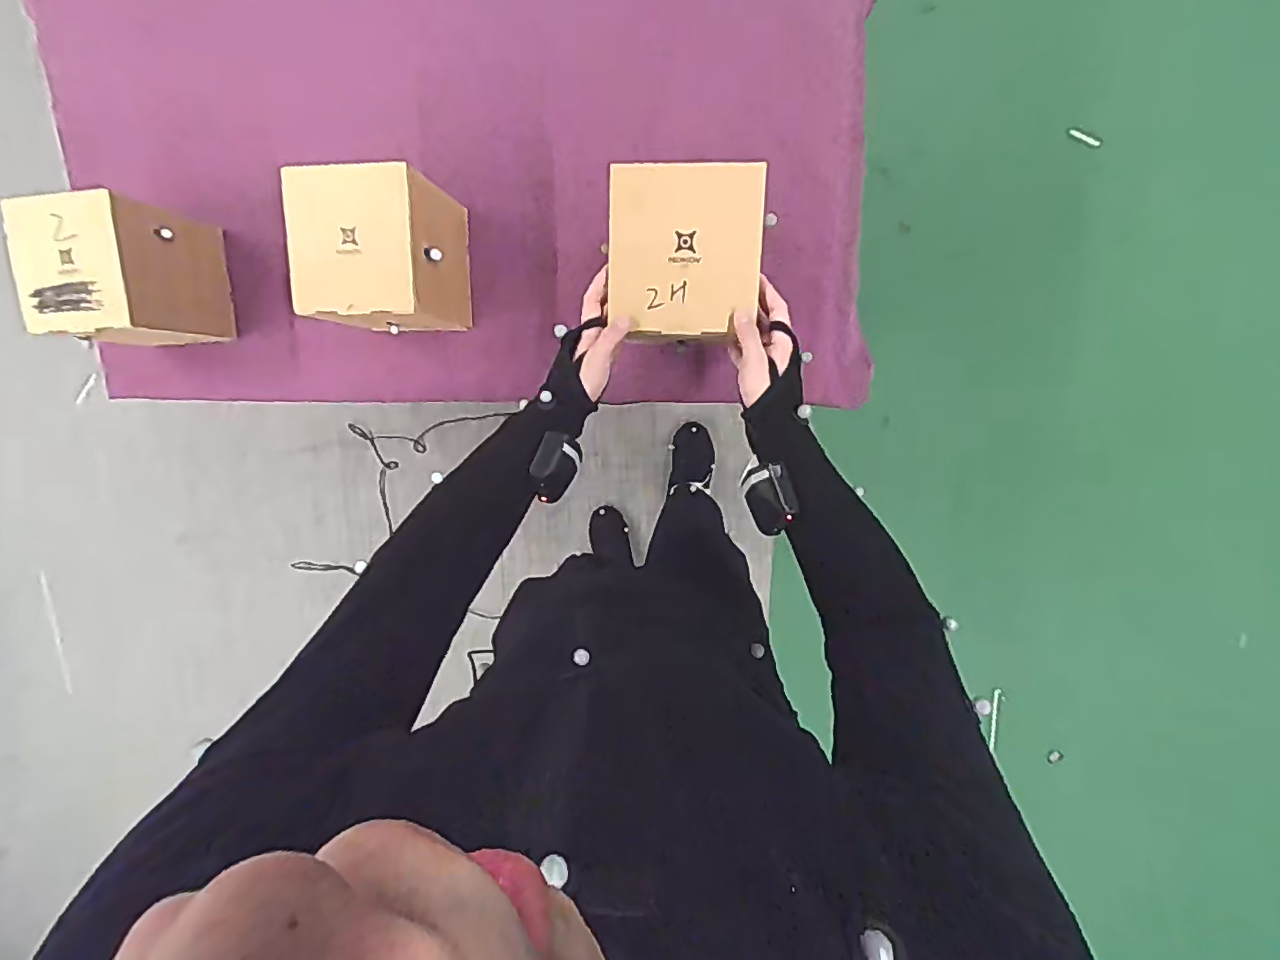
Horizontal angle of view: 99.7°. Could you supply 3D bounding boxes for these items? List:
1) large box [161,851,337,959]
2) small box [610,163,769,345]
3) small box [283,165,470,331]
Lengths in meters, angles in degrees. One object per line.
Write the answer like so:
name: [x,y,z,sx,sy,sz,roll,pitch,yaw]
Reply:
large box: [-1.384,1.623,1.912,0.408,0.320,0.320,24,103,1]
small box: [0.058,-0.262,0.662,0.168,0.176,0.179,3,102,5]
small box: [-0.345,-0.304,0.740,0.168,0.176,0.179,2,100,6]
